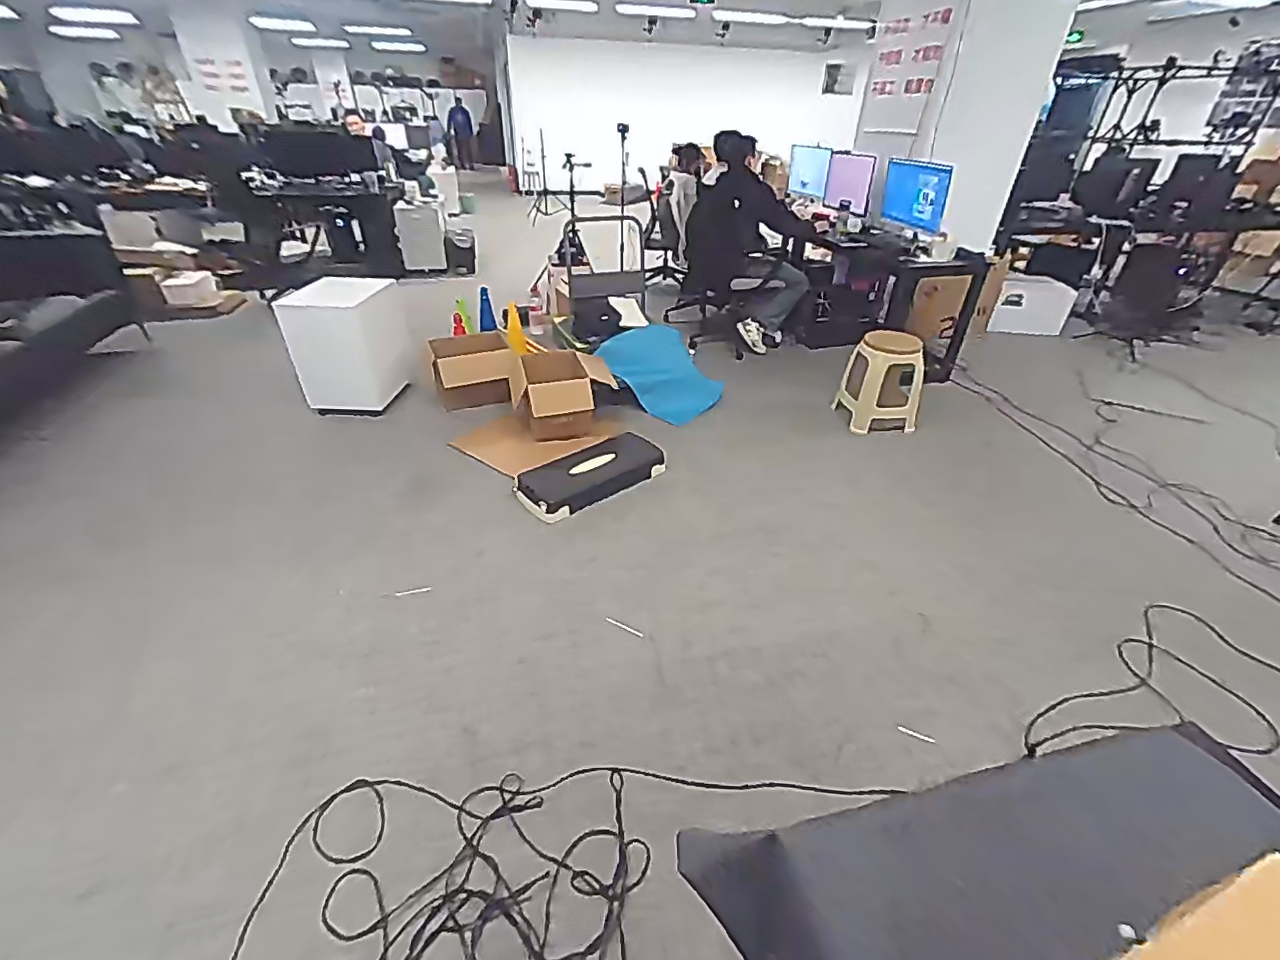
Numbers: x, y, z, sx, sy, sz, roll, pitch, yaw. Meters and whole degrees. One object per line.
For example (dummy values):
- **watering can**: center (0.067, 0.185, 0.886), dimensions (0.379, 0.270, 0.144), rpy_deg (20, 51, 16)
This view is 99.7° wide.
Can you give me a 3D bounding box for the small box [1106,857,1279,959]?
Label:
- **small box**: center (0.466, 0.421, 0.392), dimensions (0.179, 0.176, 0.168), rpy_deg (-22, 40, -12)
